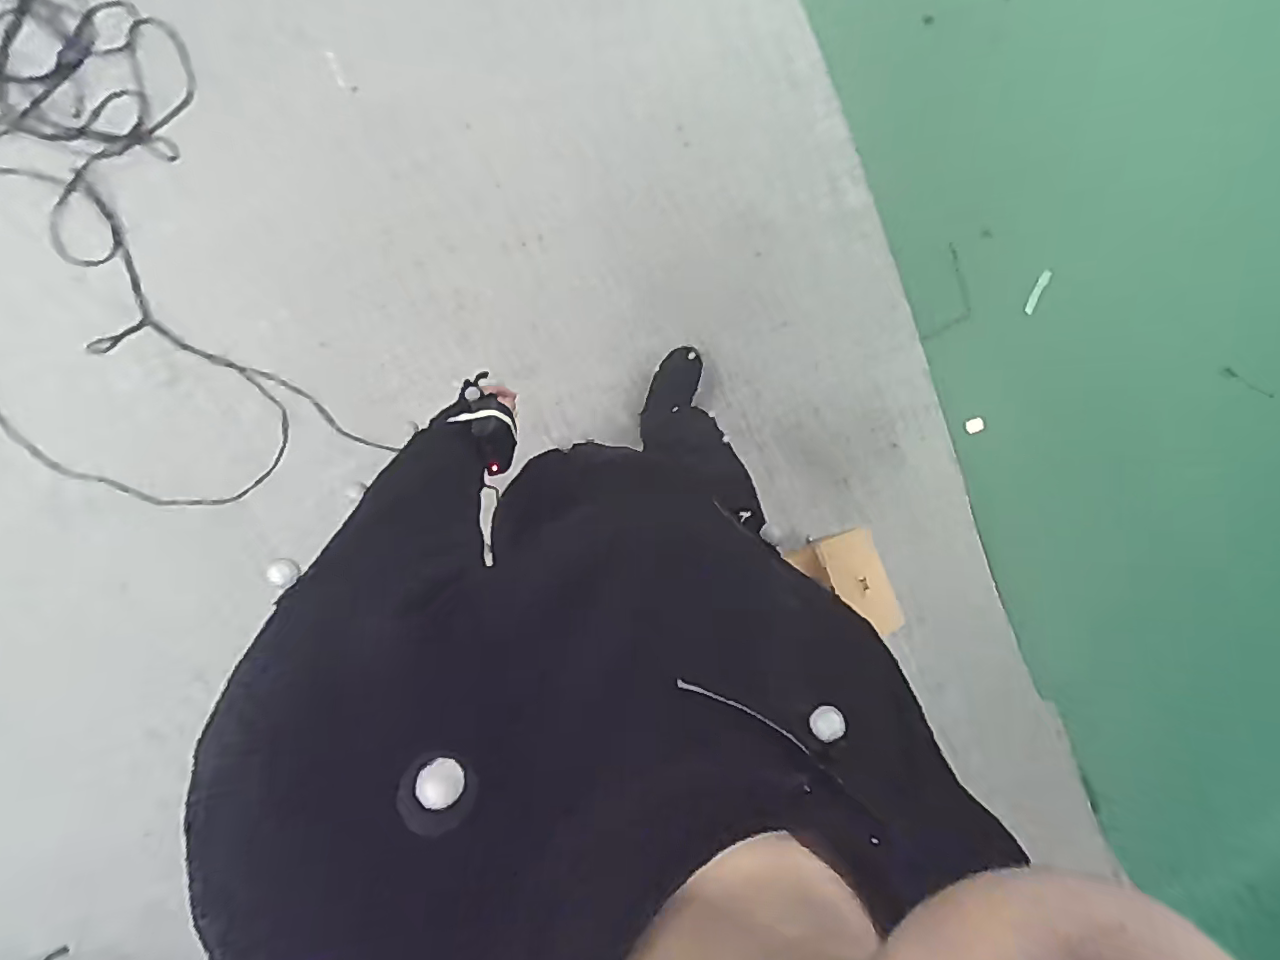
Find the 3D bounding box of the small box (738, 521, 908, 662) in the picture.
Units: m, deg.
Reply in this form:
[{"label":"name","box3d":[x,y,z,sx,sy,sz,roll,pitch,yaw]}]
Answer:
[{"label":"small box","box3d":[0.289,0.177,0.865,0.179,0.176,0.168,-11,77,-44]}]
